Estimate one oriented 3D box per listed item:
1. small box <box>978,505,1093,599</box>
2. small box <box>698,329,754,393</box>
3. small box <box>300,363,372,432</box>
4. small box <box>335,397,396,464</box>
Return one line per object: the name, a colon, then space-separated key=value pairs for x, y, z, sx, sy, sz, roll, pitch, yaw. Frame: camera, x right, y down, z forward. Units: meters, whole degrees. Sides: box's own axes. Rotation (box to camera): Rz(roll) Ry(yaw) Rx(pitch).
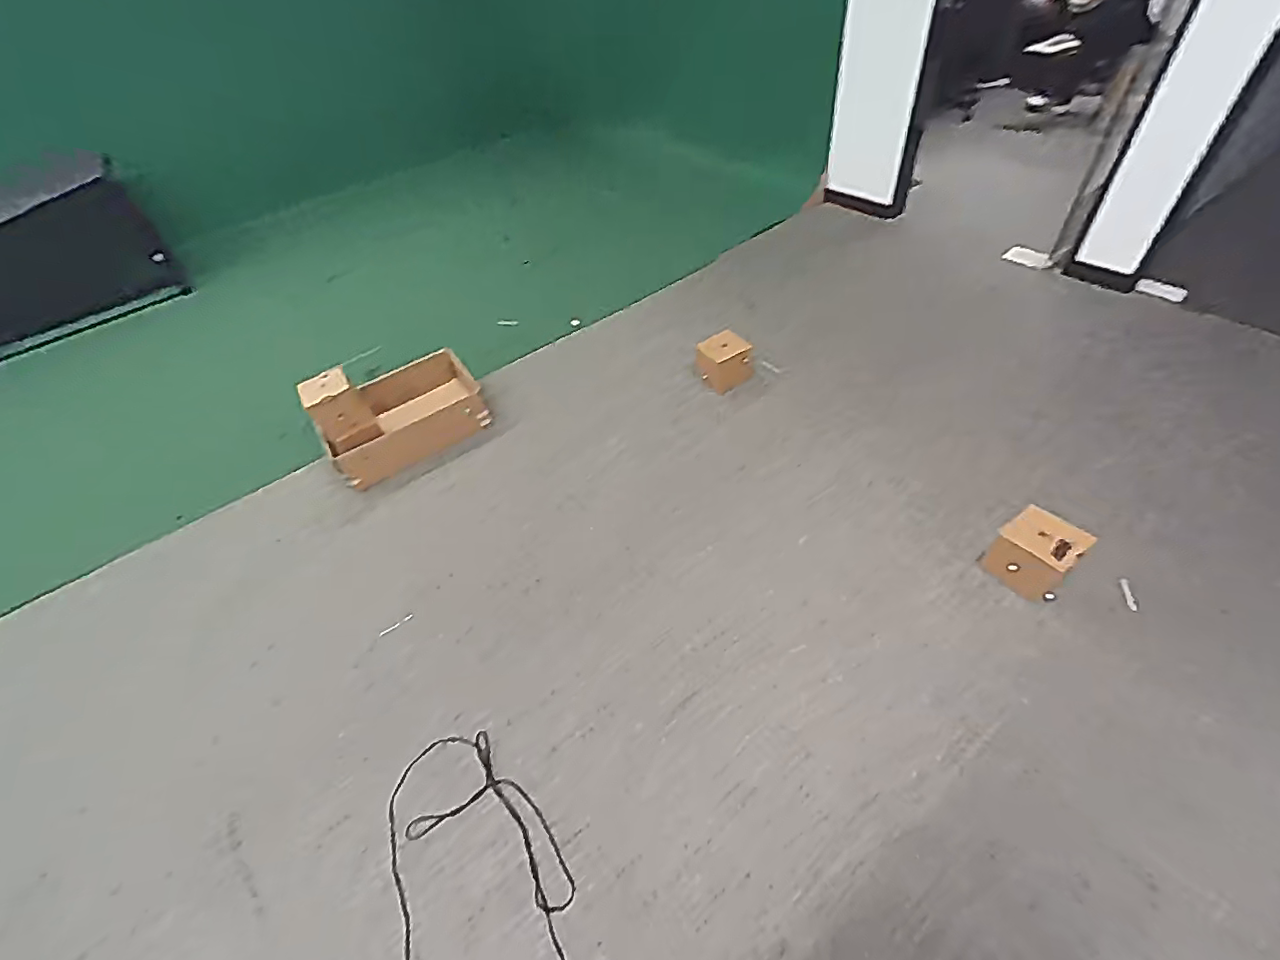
small box: x=1.112 y=0.212 z=1.534 sx=0.168 sy=0.176 sz=0.179 roll=-31 pitch=51 yaw=-18
small box: x=0.357 y=-0.499 z=2.268 sx=0.179 sy=0.176 sz=0.168 roll=-28 pitch=50 yaw=-15
small box: x=-1.142 y=-0.303 z=2.038 sx=0.168 sy=0.176 sz=0.179 roll=-29 pitch=52 yaw=-16
small box: x=-1.108 y=-0.194 z=2.157 sx=0.168 sy=0.176 sz=0.179 roll=-34 pitch=54 yaw=-19
